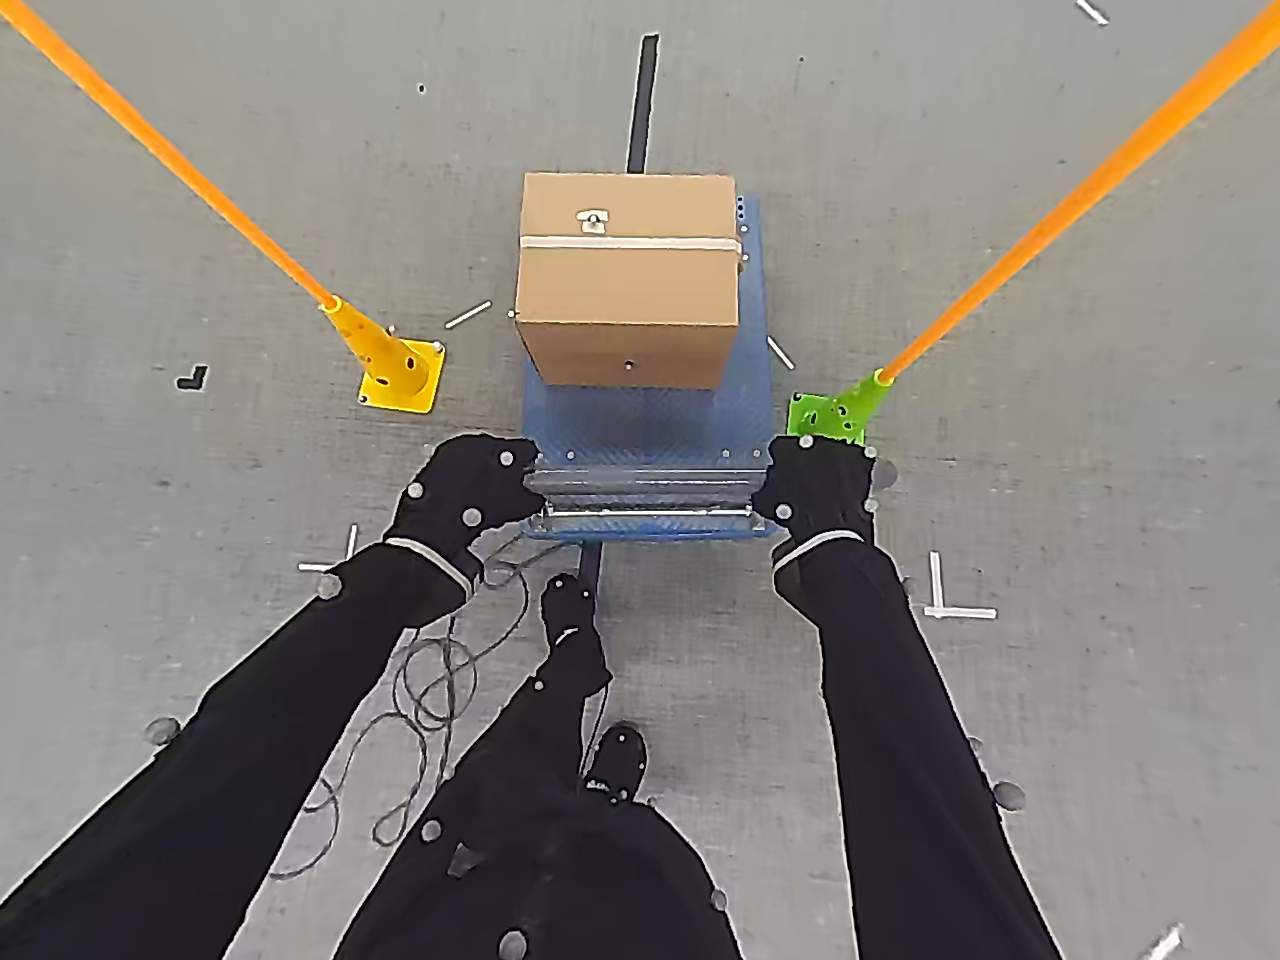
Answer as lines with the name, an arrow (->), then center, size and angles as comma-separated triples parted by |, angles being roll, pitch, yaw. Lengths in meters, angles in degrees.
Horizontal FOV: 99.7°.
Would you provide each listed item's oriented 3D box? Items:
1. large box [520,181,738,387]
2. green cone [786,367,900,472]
large box -> -0.015, -0.396, 1.153 | 0.408, 0.320, 0.320 | 1, 78, 1
green cone -> 0.490, -0.165, 1.247 | 0.202, 0.368, 0.200 | 9, 78, 1
